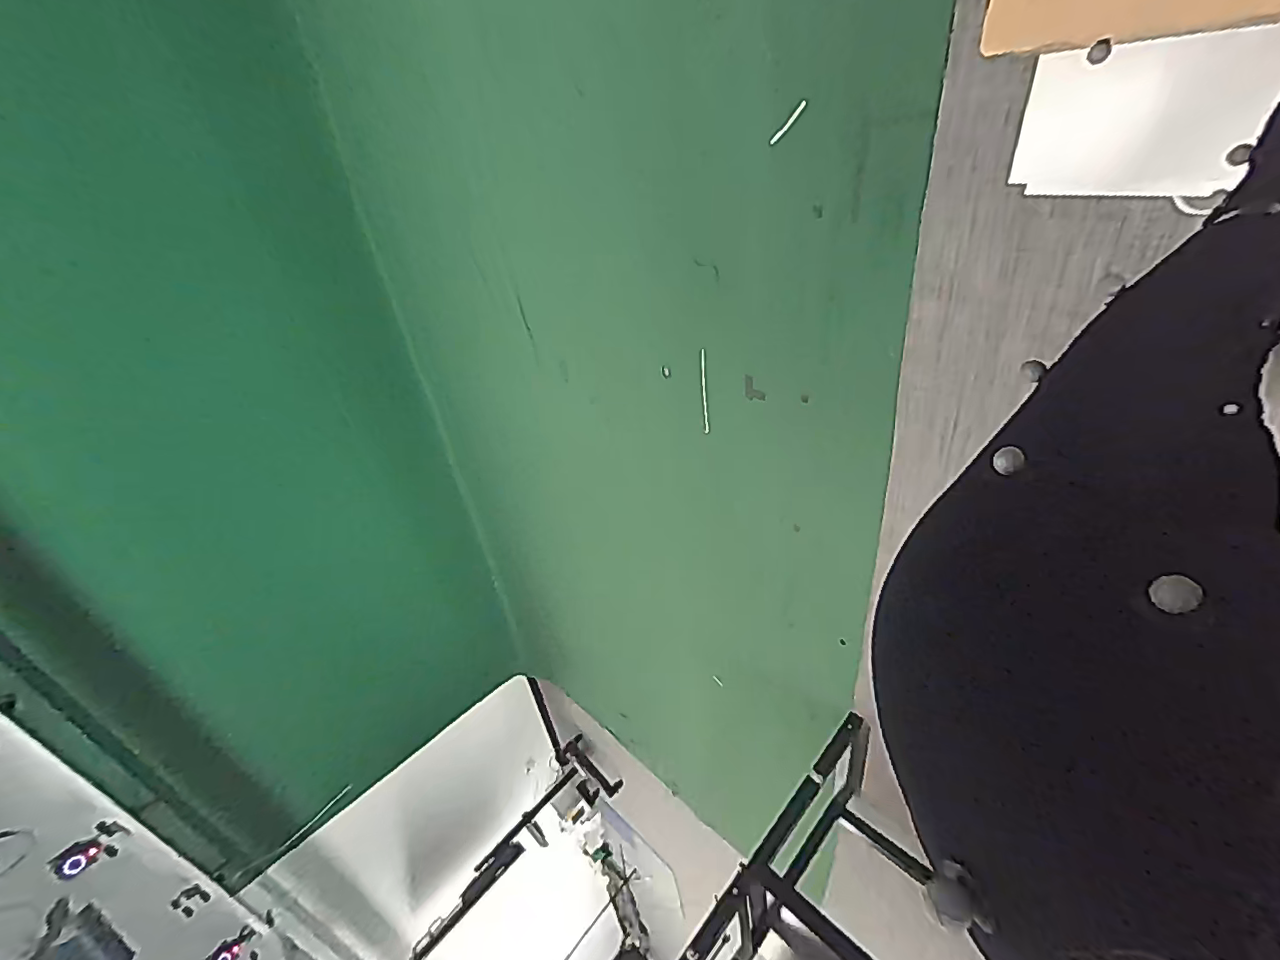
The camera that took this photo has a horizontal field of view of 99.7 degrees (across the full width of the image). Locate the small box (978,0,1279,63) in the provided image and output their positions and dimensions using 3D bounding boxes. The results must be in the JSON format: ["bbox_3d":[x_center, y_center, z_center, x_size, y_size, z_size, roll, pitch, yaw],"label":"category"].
[{"bbox_3d":[0.386,-0.415,0.391,0.179,0.176,0.168,24,134,38],"label":"small box"}]
